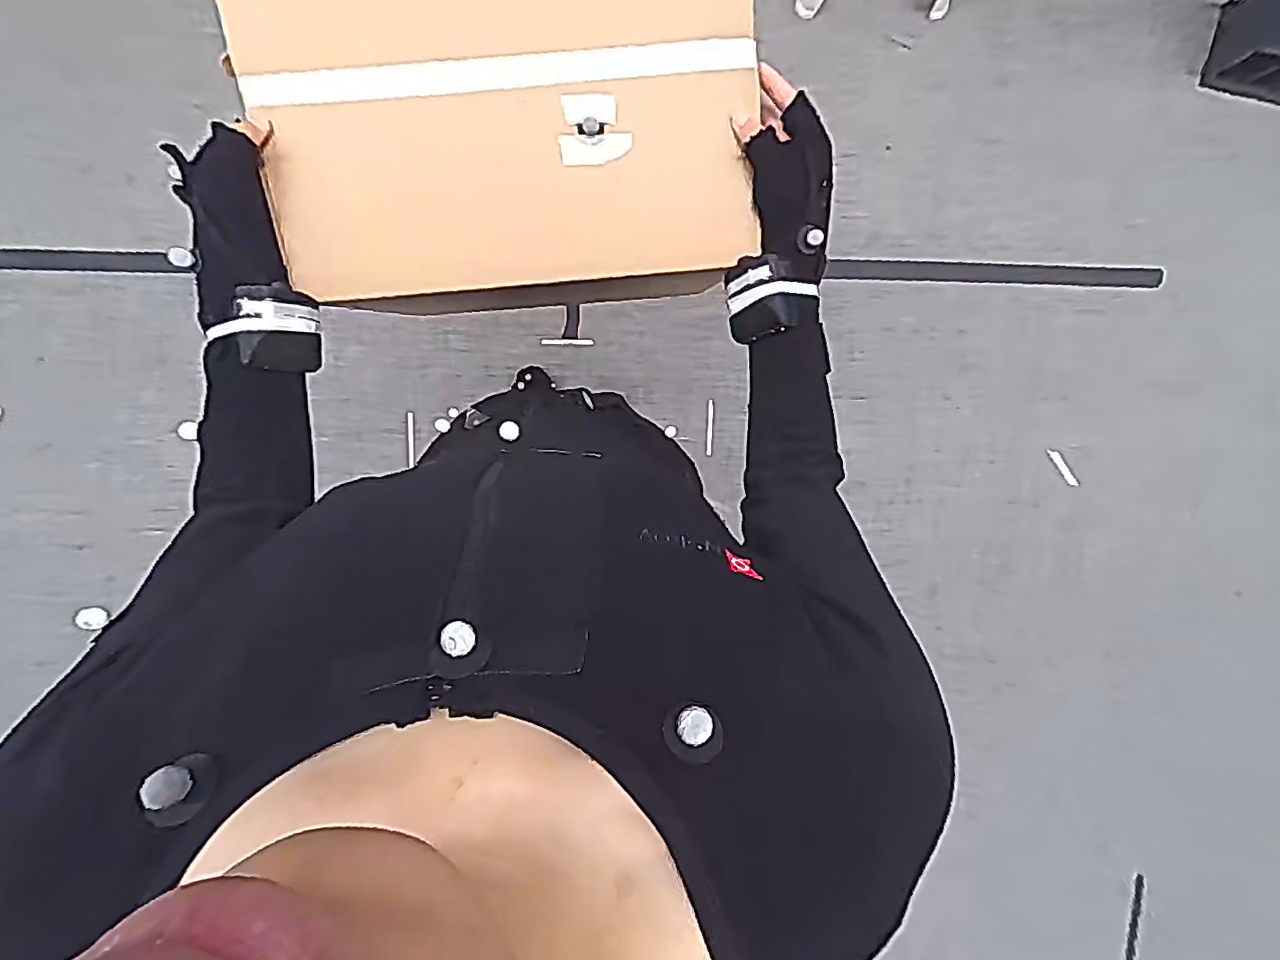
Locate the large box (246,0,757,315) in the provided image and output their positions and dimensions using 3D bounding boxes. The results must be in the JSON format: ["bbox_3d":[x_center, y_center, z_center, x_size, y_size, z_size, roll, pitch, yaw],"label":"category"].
[{"bbox_3d":[-0.115,-0.365,0.590,0.408,0.320,0.320,-6,106,-2],"label":"large box"}]
